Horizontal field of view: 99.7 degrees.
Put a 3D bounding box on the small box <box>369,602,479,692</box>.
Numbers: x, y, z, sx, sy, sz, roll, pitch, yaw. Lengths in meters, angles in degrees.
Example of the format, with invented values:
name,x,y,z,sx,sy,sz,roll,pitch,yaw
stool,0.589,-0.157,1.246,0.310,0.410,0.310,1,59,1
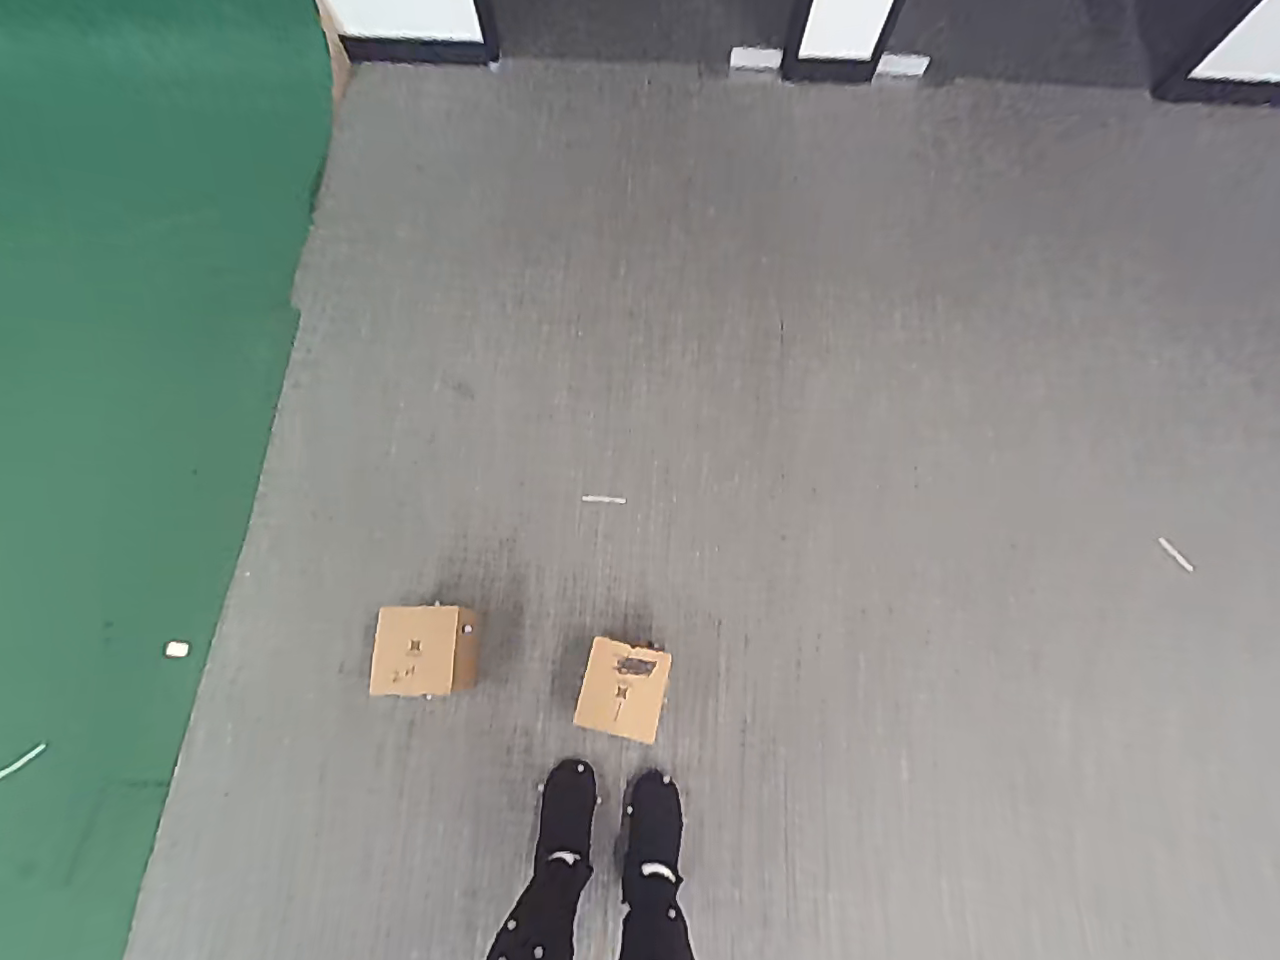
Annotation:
name,x,y,z,sx,sy,sz,roll,pitch,yaw
small box,-0.454,0.360,1.168,0.168,0.176,0.179,0,73,-1

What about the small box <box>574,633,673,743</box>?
name,x,y,z,sx,sy,sz,roll,pitch,yaw
small box,-0.032,0.434,1.149,0.168,0.176,0.179,13,74,4
